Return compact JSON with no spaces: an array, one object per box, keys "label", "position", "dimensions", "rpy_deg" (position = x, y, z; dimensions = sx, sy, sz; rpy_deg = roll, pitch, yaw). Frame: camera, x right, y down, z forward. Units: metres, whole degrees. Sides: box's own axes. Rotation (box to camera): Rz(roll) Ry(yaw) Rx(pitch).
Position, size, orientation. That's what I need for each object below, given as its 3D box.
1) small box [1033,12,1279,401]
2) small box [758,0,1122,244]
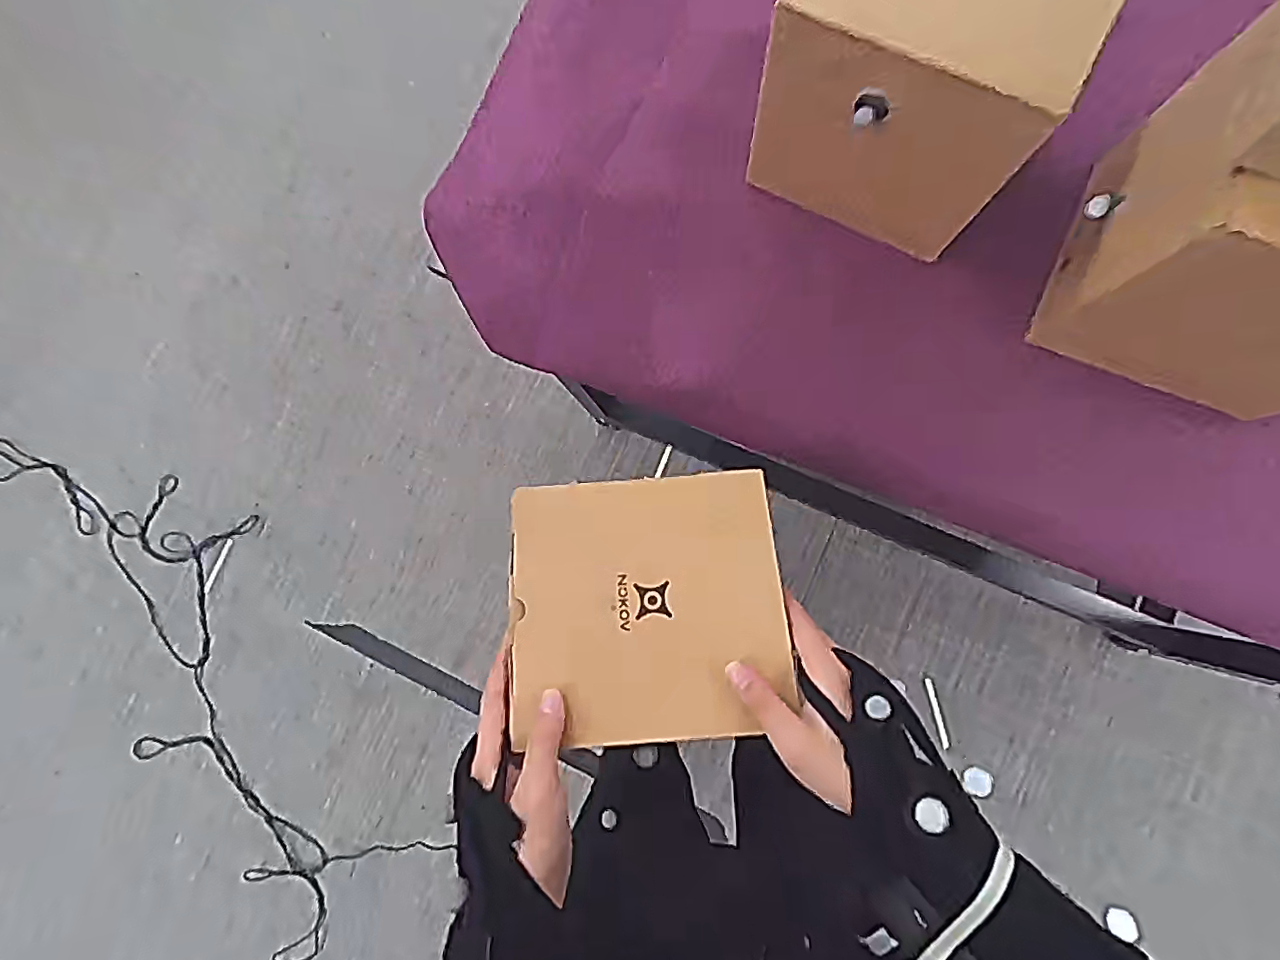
[{"label":"small box","position":[0.418,-0.166,0.353],"dimensions":[0.179,0.176,0.168],"rpy_deg":[24,86,8]},{"label":"small box","position":[0.202,-0.306,0.388],"dimensions":[0.179,0.176,0.168],"rpy_deg":[28,88,6]}]
